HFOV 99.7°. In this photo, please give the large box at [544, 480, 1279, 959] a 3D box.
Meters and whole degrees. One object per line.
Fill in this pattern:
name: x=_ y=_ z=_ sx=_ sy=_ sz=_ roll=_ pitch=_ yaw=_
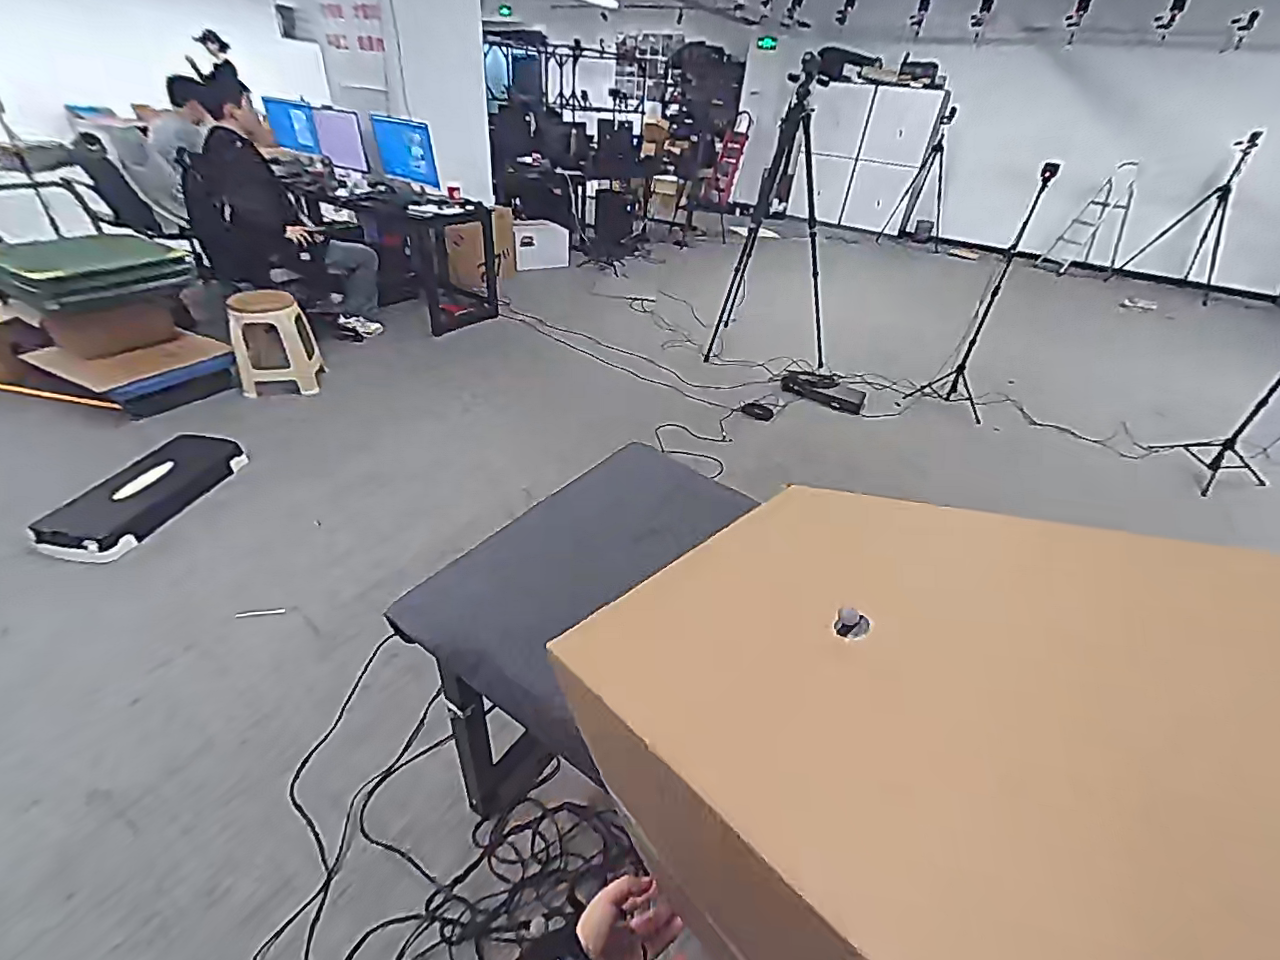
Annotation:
large box: x=0.189 y=0.224 z=0.400 sx=0.320 sy=0.320 sz=0.408 roll=-30 pitch=21 yaw=-27
